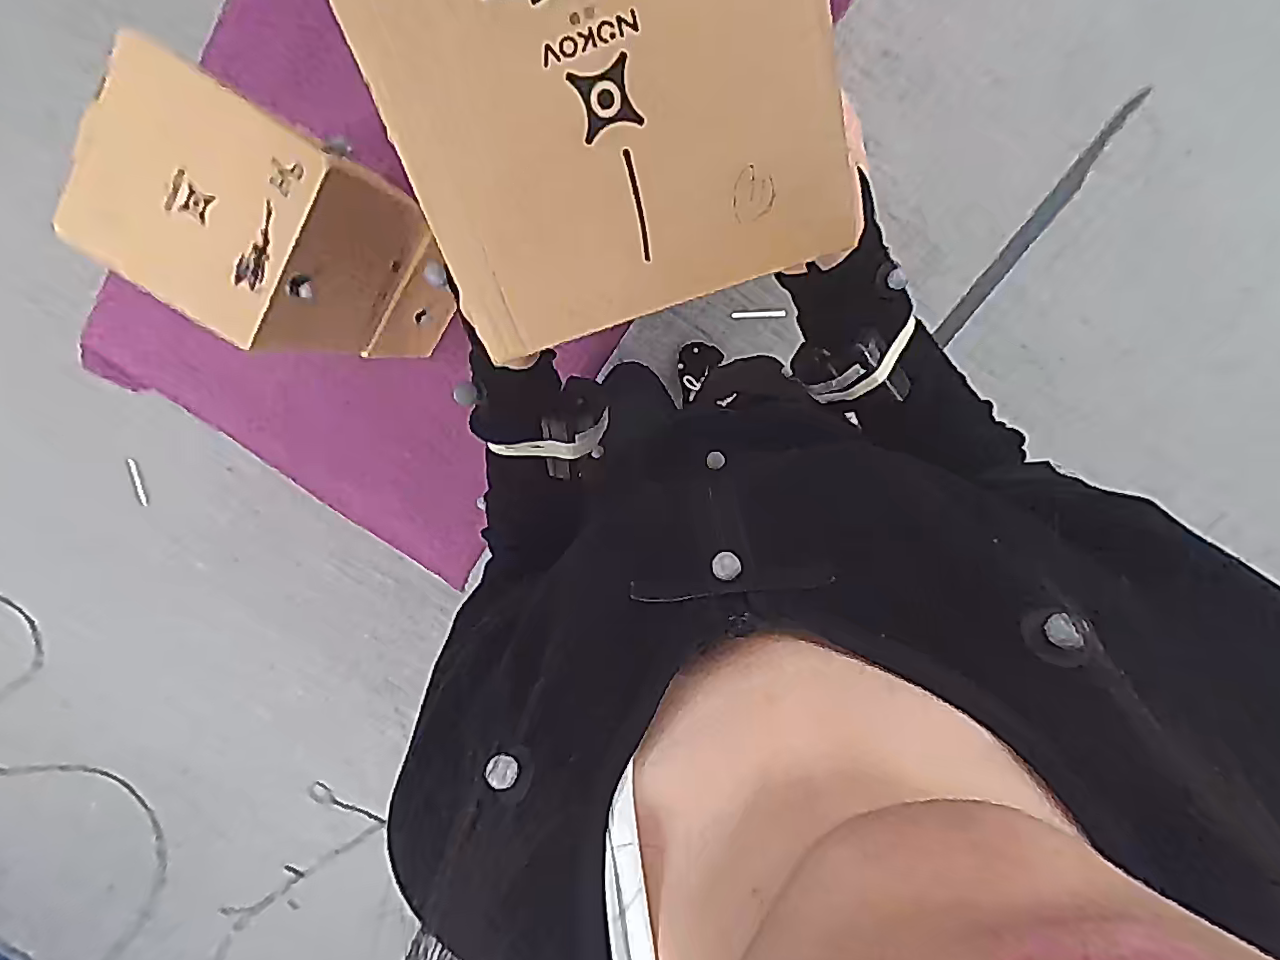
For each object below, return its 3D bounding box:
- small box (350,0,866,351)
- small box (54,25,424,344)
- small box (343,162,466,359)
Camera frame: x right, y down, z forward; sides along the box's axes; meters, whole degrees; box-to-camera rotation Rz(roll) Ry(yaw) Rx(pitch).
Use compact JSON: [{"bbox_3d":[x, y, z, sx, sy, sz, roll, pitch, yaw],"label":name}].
[{"bbox_3d":[-0.012,-0.185,0.263,0.168,0.176,0.179,-16,116,6],"label":"small box"},{"bbox_3d":[-0.336,-0.233,0.487,0.179,0.176,0.168,33,103,-3],"label":"small box"},{"bbox_3d":[-0.321,-0.264,0.648,0.179,0.176,0.168,34,102,-4],"label":"small box"}]
